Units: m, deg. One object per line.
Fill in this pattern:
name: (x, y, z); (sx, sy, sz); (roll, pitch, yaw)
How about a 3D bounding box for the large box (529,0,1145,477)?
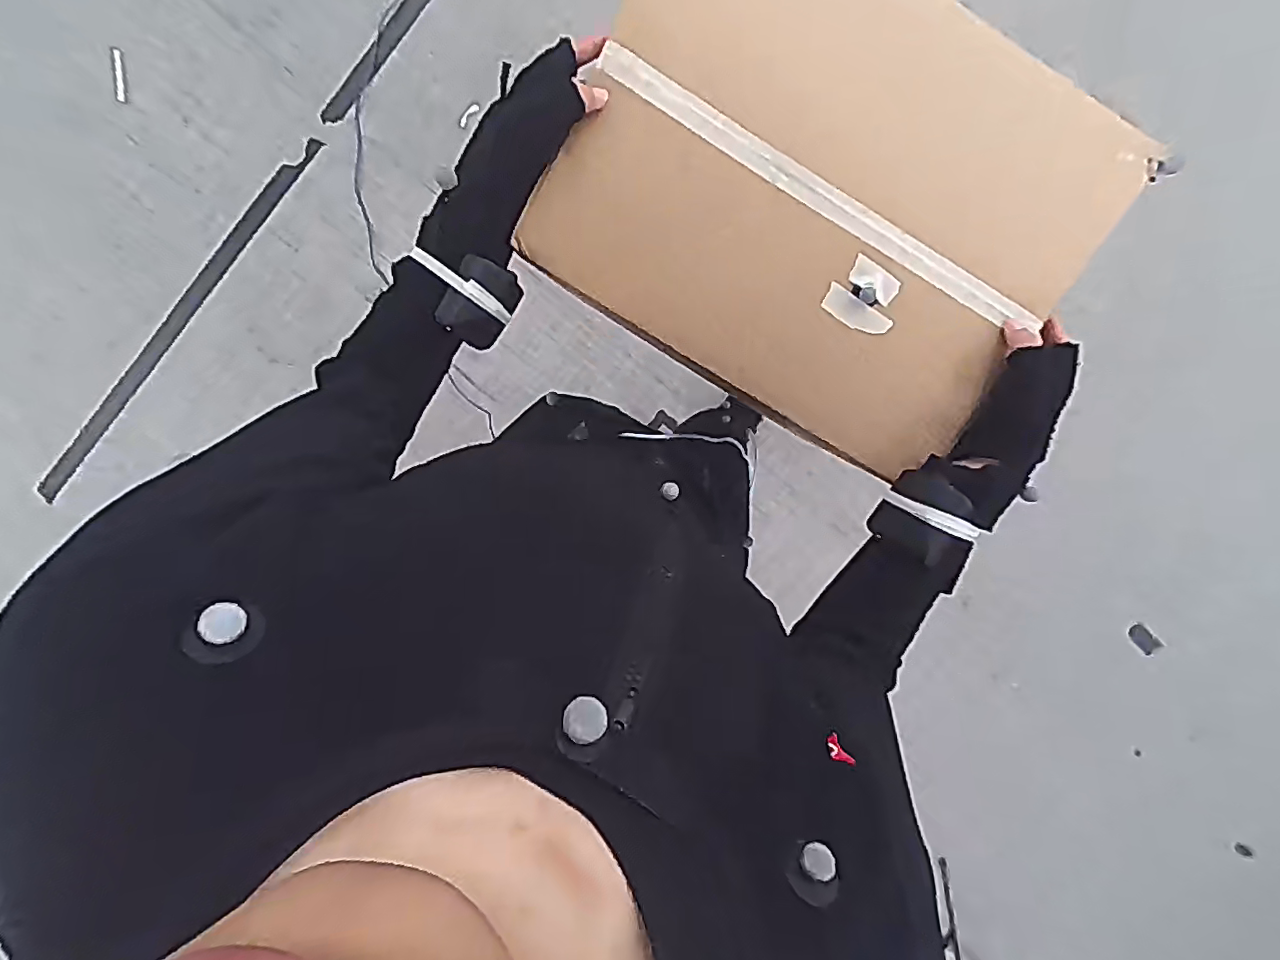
large box: (0.153, -0.257, 0.581); (0.408, 0.320, 0.320); (31, 102, -5)
